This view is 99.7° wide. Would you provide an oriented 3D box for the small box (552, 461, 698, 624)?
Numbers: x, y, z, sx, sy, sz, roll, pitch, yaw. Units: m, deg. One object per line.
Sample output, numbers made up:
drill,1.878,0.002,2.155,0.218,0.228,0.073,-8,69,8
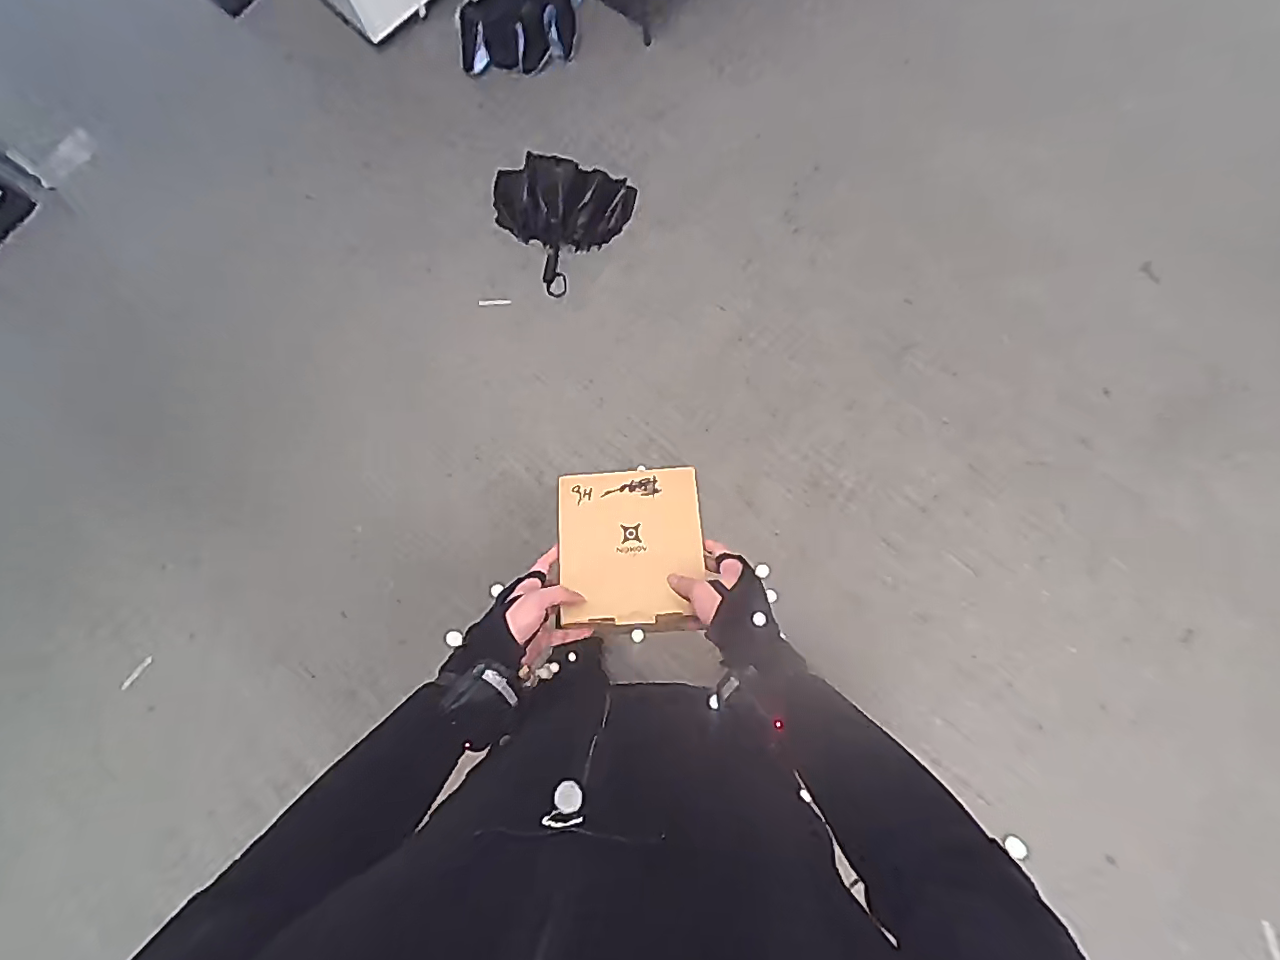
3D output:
small box,-0.015,0.089,0.693,0.168,0.176,0.179,-4,70,1
